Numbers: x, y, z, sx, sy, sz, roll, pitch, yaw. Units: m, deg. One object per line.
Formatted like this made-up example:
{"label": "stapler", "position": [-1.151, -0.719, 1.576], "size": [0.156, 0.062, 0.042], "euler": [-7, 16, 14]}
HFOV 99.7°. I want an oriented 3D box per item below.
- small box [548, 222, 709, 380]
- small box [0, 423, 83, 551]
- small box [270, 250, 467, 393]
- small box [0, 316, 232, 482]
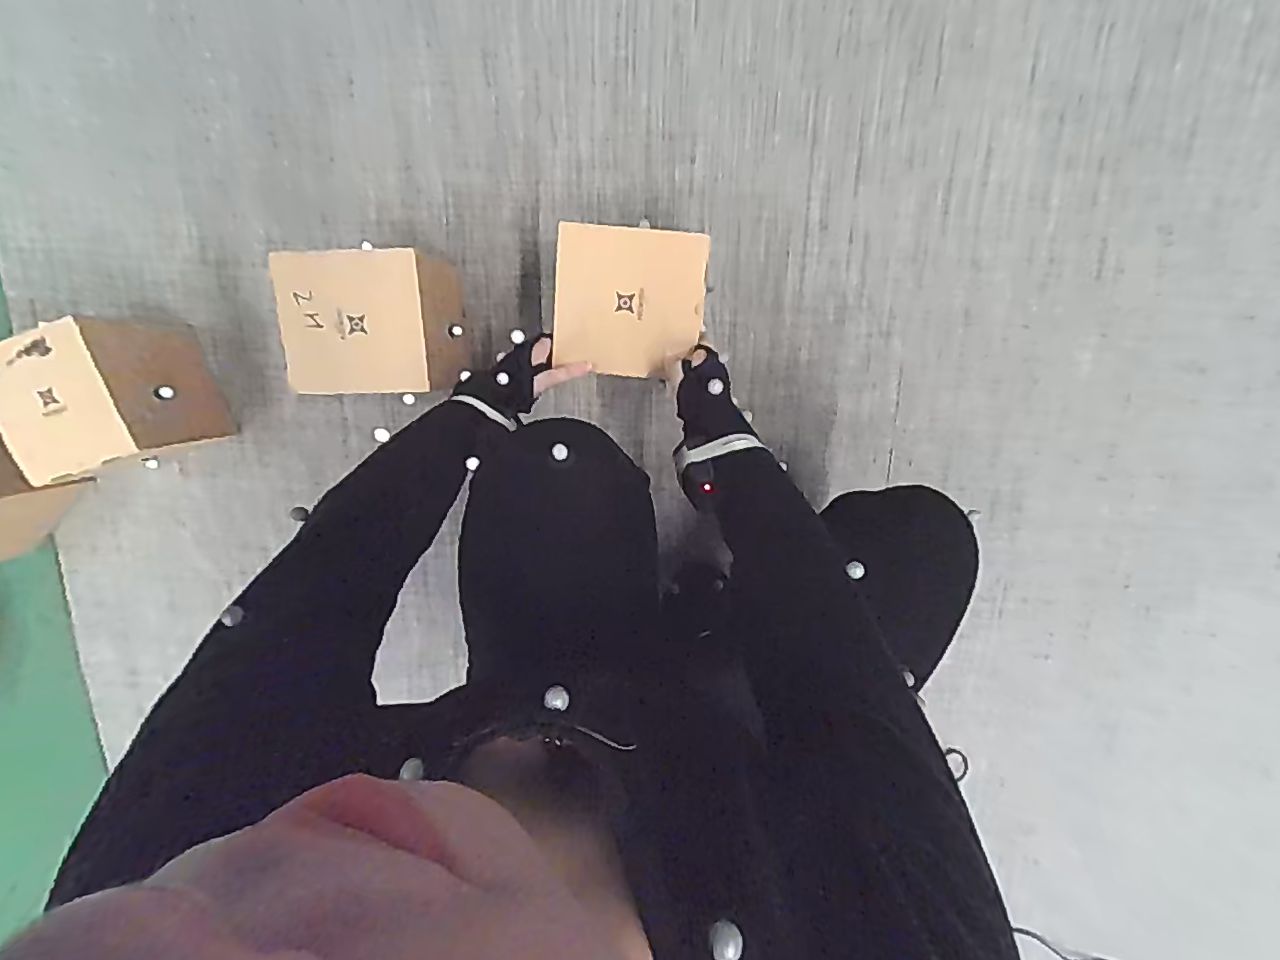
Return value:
{"label": "small box", "position": [-0.014, -0.221, 0.706], "size": [0.179, 0.176, 0.168], "euler": [5, 102, 0]}
{"label": "small box", "position": [-0.995, 0.010, 0.789], "size": [0.179, 0.176, 0.168], "euler": [-43, 98, 9]}
{"label": "small box", "position": [-0.339, -0.204, 0.718], "size": [0.179, 0.176, 0.168], "euler": [0, 102, 2]}
{"label": "small box", "position": [-0.727, -0.117, 0.752], "size": [0.168, 0.176, 0.179], "euler": [-16, 102, 6]}
